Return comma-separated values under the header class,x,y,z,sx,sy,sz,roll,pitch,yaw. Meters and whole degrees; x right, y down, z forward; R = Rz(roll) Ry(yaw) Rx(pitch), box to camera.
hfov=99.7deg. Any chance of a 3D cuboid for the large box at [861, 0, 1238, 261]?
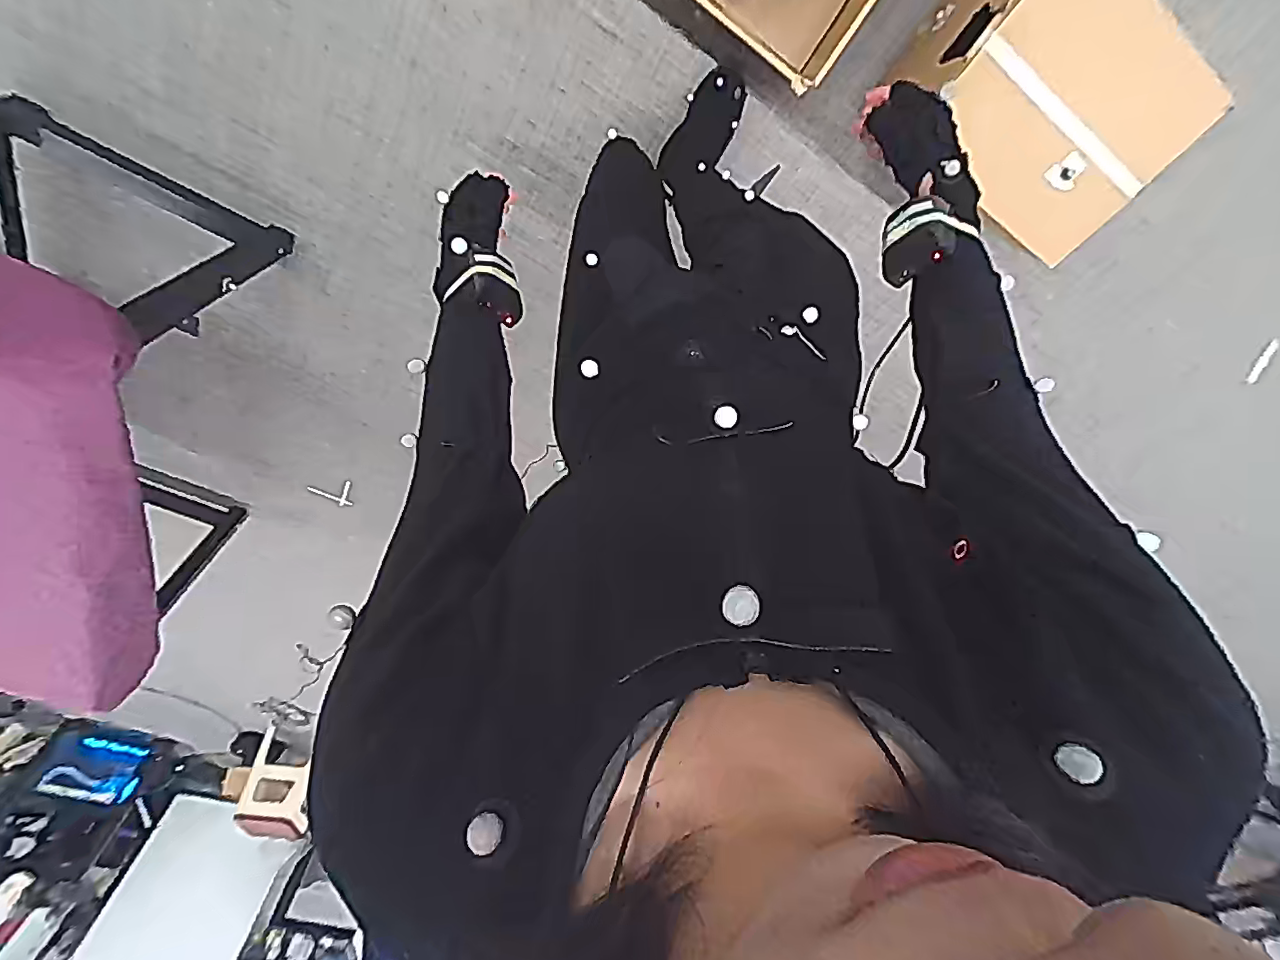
class,x,y,z,sx,sy,sz,roll,pitch,yaw
large box,0.694,-0.681,0.981,0.408,0.320,0.320,25,128,-19
